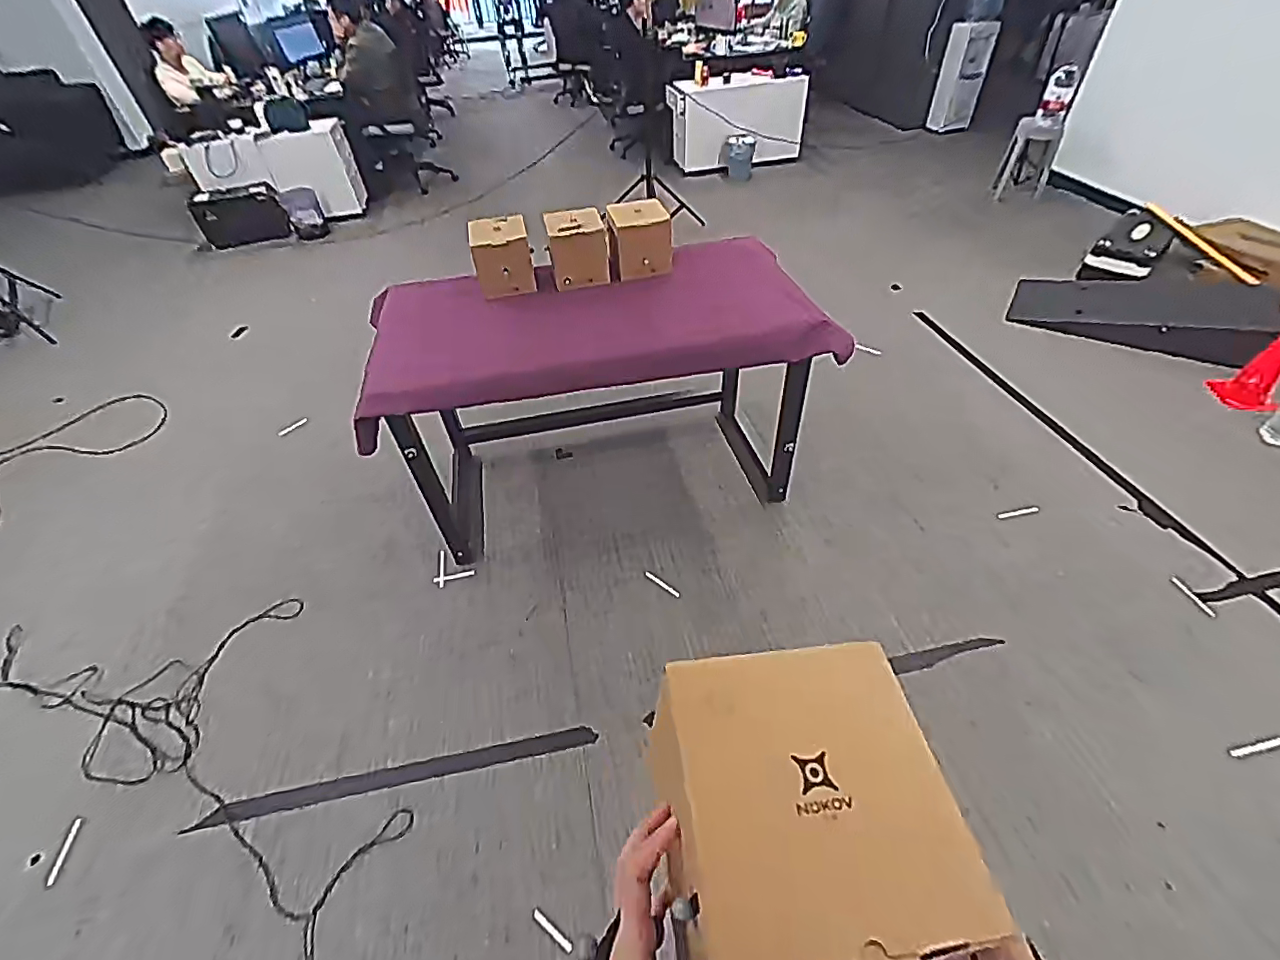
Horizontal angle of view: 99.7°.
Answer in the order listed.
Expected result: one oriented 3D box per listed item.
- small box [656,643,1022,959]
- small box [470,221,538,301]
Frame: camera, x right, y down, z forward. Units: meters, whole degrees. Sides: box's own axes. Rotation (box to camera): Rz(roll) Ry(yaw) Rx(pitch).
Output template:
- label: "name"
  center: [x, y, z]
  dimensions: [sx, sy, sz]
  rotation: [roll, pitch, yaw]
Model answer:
- label: "small box"
  center: [0.108, 0.244, 0.392]
  dimensions: [0.168, 0.176, 0.179]
  rotation: [-4, 45, -8]
- label: "small box"
  center: [-0.413, -0.659, 1.645]
  dimensions: [0.168, 0.176, 0.179]
  rotation: [-12, 48, -8]
